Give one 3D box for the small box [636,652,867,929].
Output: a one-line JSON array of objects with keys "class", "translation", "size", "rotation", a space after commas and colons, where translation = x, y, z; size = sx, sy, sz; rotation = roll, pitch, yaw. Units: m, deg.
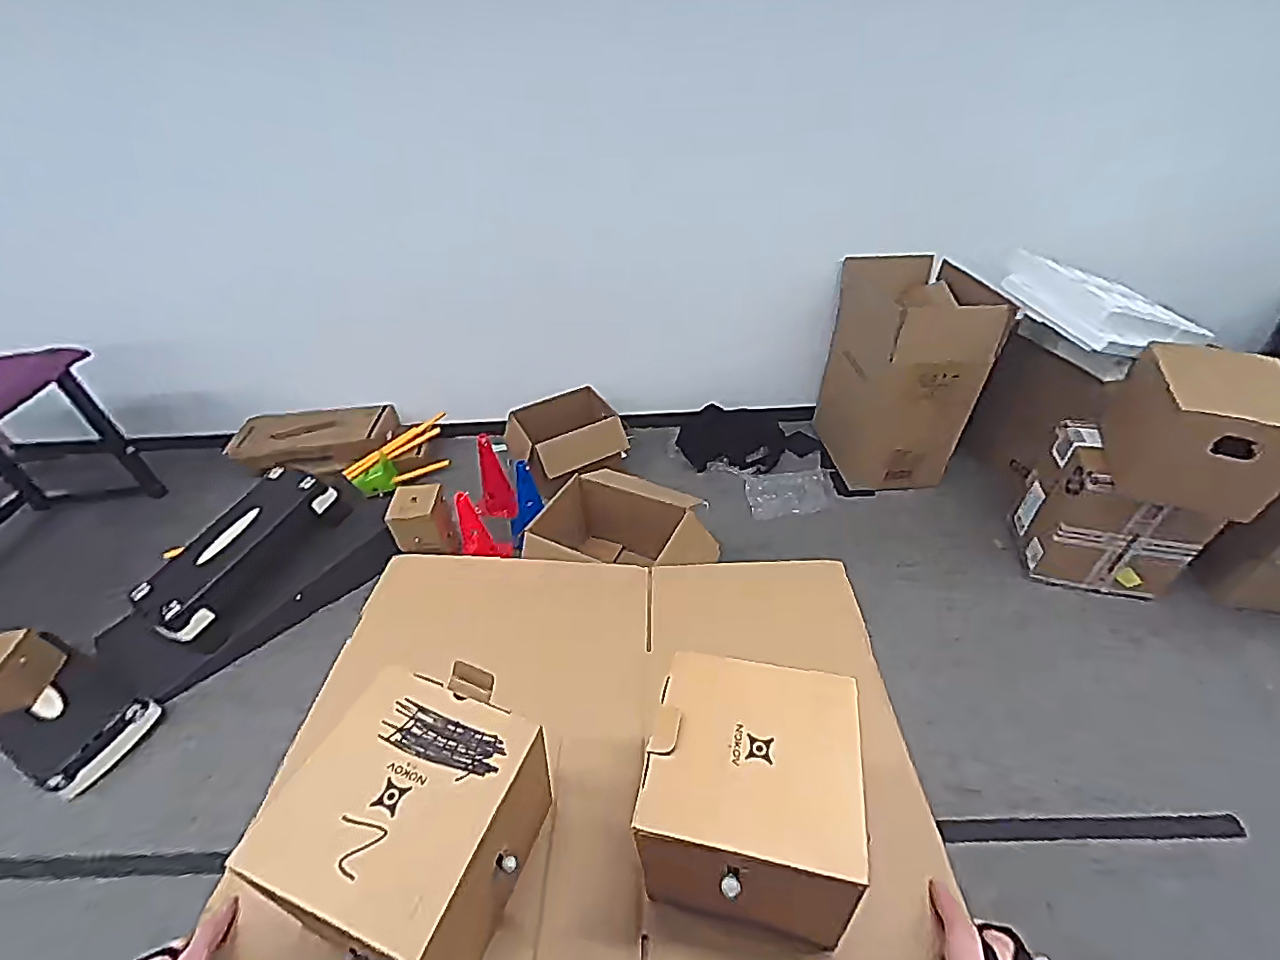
[{"class": "small box", "translation": [0.107, 0.295, 0.518], "size": [0.179, 0.176, 0.168], "rotation": [4, 39, 15]}]
